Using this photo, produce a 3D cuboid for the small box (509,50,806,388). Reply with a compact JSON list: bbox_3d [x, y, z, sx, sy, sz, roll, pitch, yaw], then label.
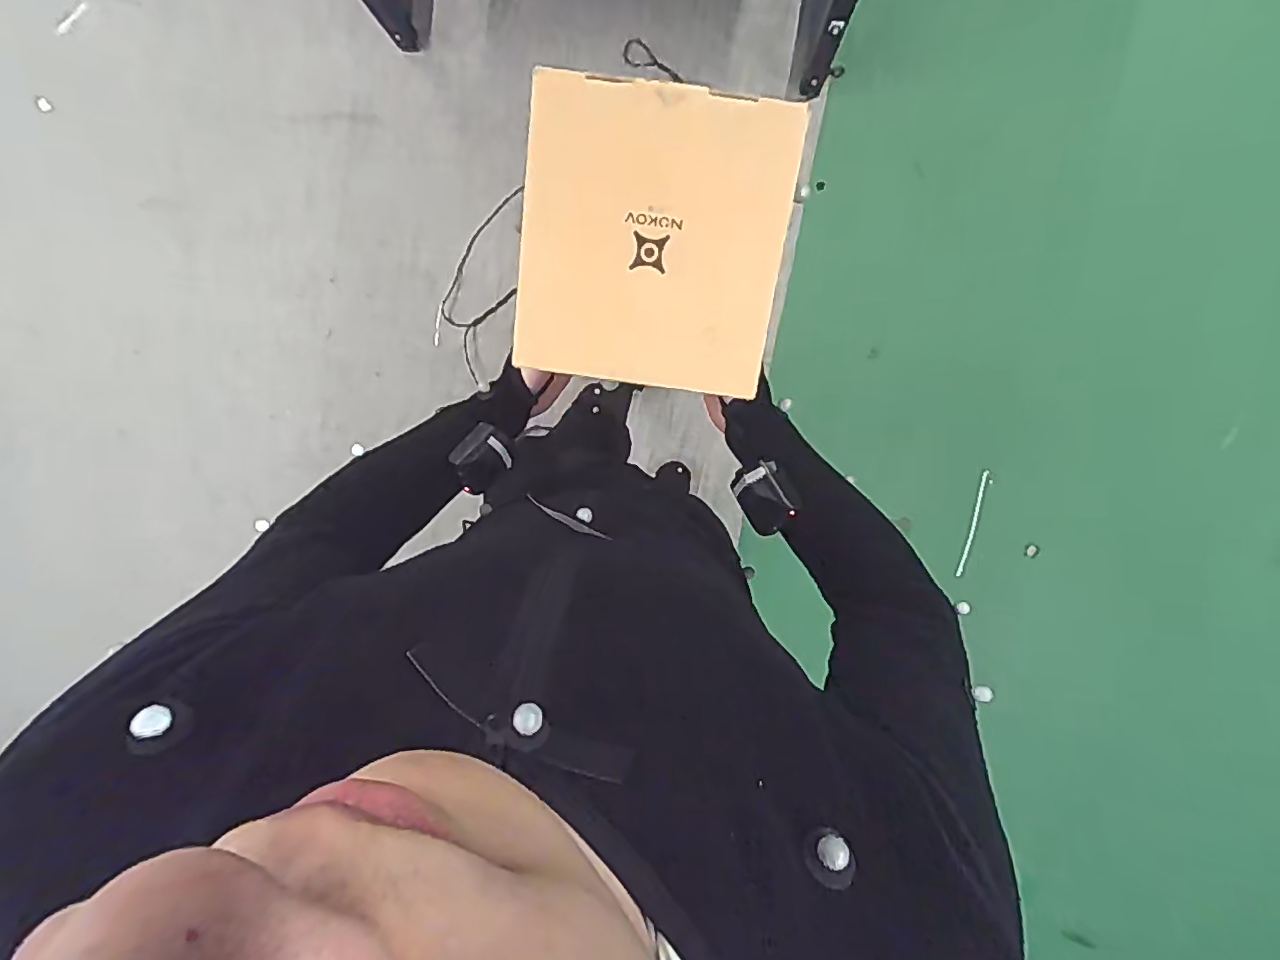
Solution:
[{"bbox_3d":[0.009,-0.176,0.409,0.168,0.176,0.179,8,106,1],"label":"small box"}]
